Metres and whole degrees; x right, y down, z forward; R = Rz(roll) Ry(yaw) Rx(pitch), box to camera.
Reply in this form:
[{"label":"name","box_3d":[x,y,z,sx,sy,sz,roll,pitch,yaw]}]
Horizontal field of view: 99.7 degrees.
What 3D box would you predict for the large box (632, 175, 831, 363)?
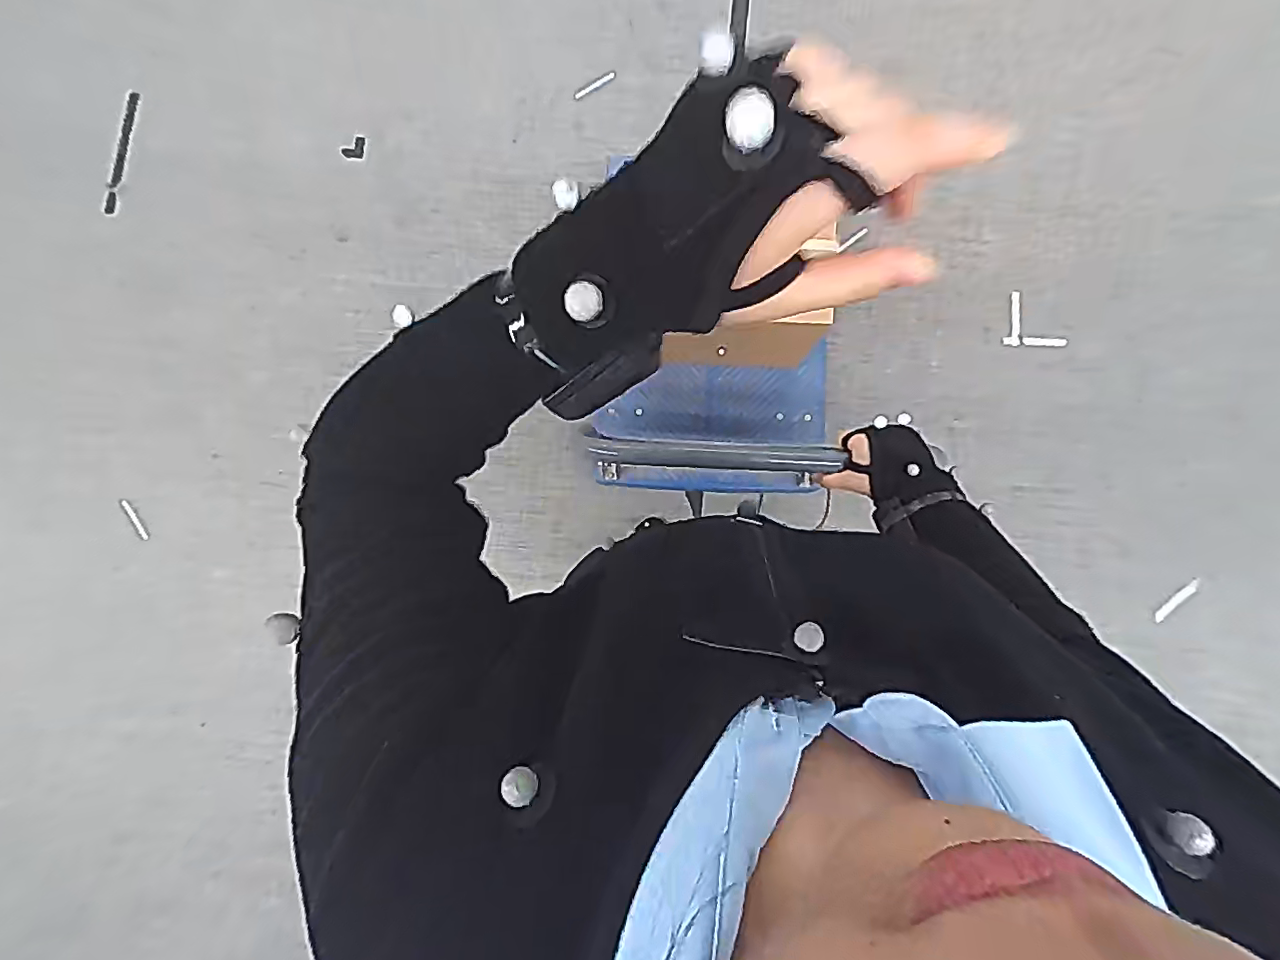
[{"label":"large box","box_3d":[0.196,-0.463,1.245,0.408,0.320,0.320,3,84,3]}]
